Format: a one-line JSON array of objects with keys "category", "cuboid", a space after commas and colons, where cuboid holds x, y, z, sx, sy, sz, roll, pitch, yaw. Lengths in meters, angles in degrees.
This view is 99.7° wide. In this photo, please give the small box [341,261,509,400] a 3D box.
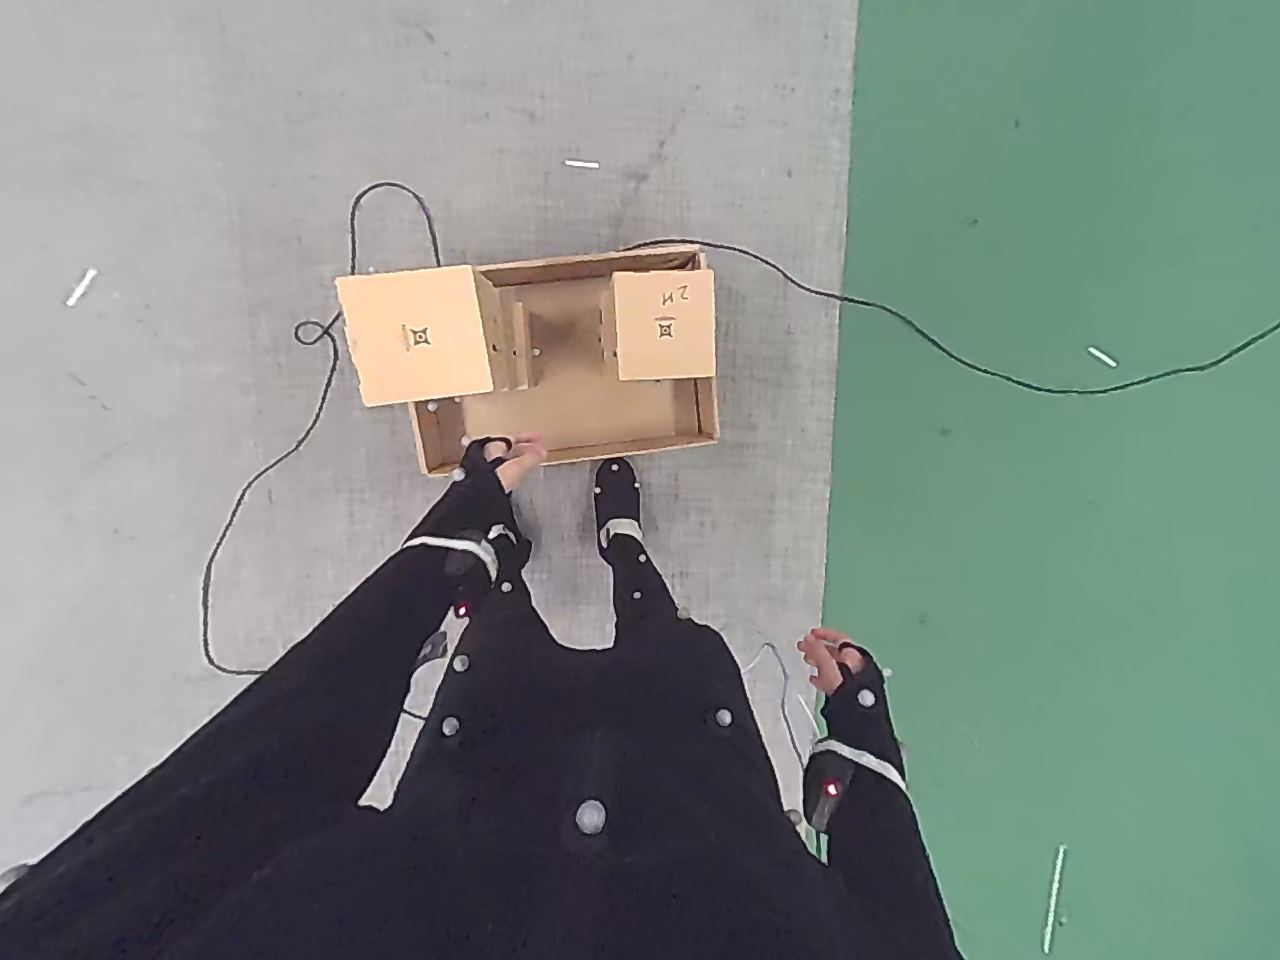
[{"category": "small box", "cuboid": [-0.292, -0.212, 0.783, 0.179, 0.176, 0.168, -7, 103, -3]}]

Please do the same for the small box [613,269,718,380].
[{"category": "small box", "cuboid": [0.039, -0.270, 0.967, 0.168, 0.176, 0.179, -3, 100, -6]}]

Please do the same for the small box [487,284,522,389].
[{"category": "small box", "cuboid": [-0.308, -0.243, 0.941, 0.179, 0.176, 0.168, -2, 102, -6]}]

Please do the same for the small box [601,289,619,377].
[{"category": "small box", "cuboid": [0.010, -0.300, 1.127, 0.179, 0.176, 0.168, -2, 101, -4]}]
